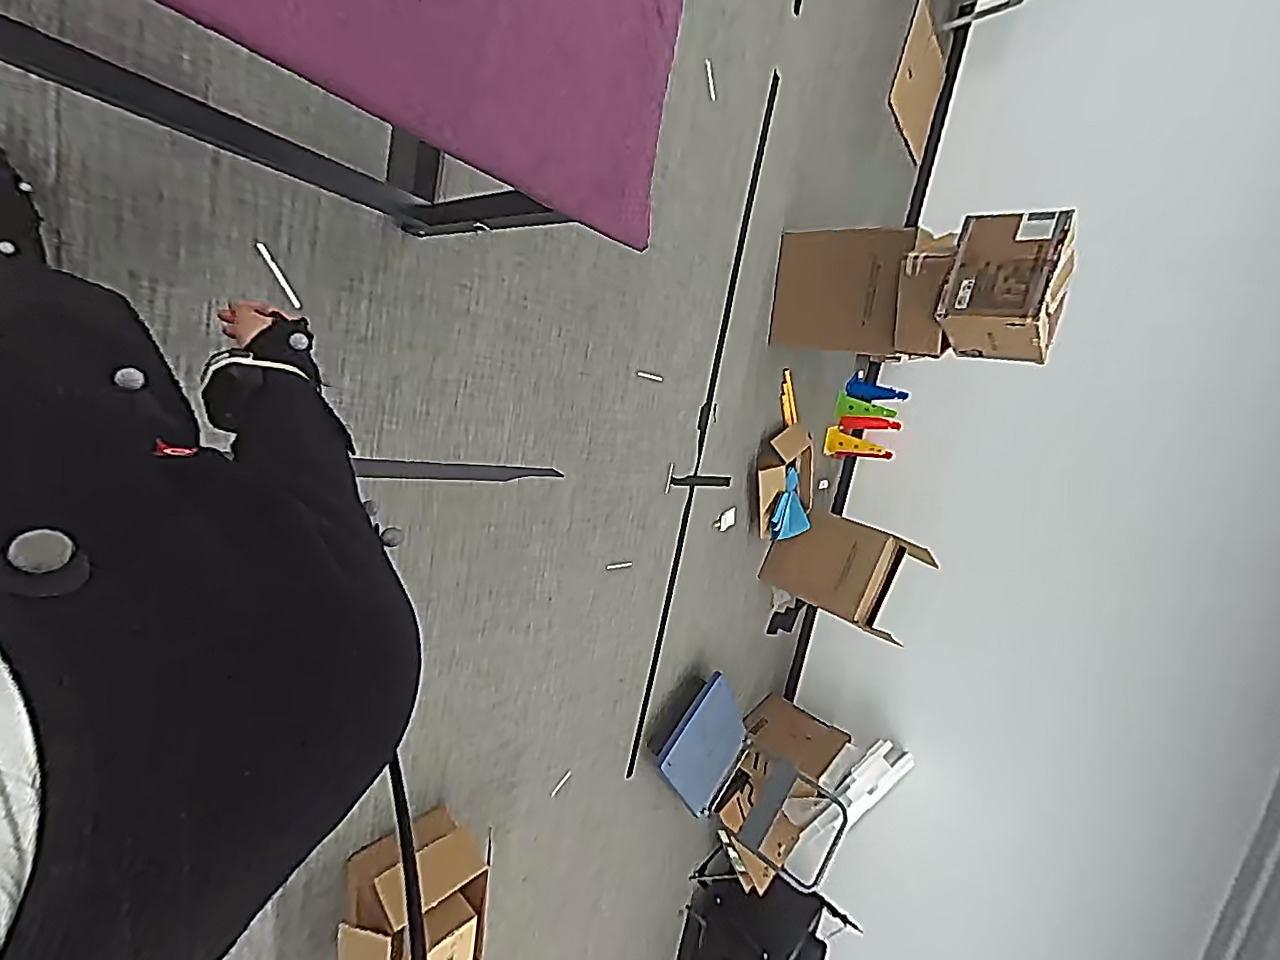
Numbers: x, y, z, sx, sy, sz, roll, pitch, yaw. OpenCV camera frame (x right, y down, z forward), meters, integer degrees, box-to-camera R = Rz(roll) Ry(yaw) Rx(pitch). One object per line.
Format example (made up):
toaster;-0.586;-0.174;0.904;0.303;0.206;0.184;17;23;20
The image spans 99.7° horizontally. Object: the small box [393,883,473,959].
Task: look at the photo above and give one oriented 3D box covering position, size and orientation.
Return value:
small box;-0.632;1.393;1.642;0.168;0.176;0.179;-4;107;-50
